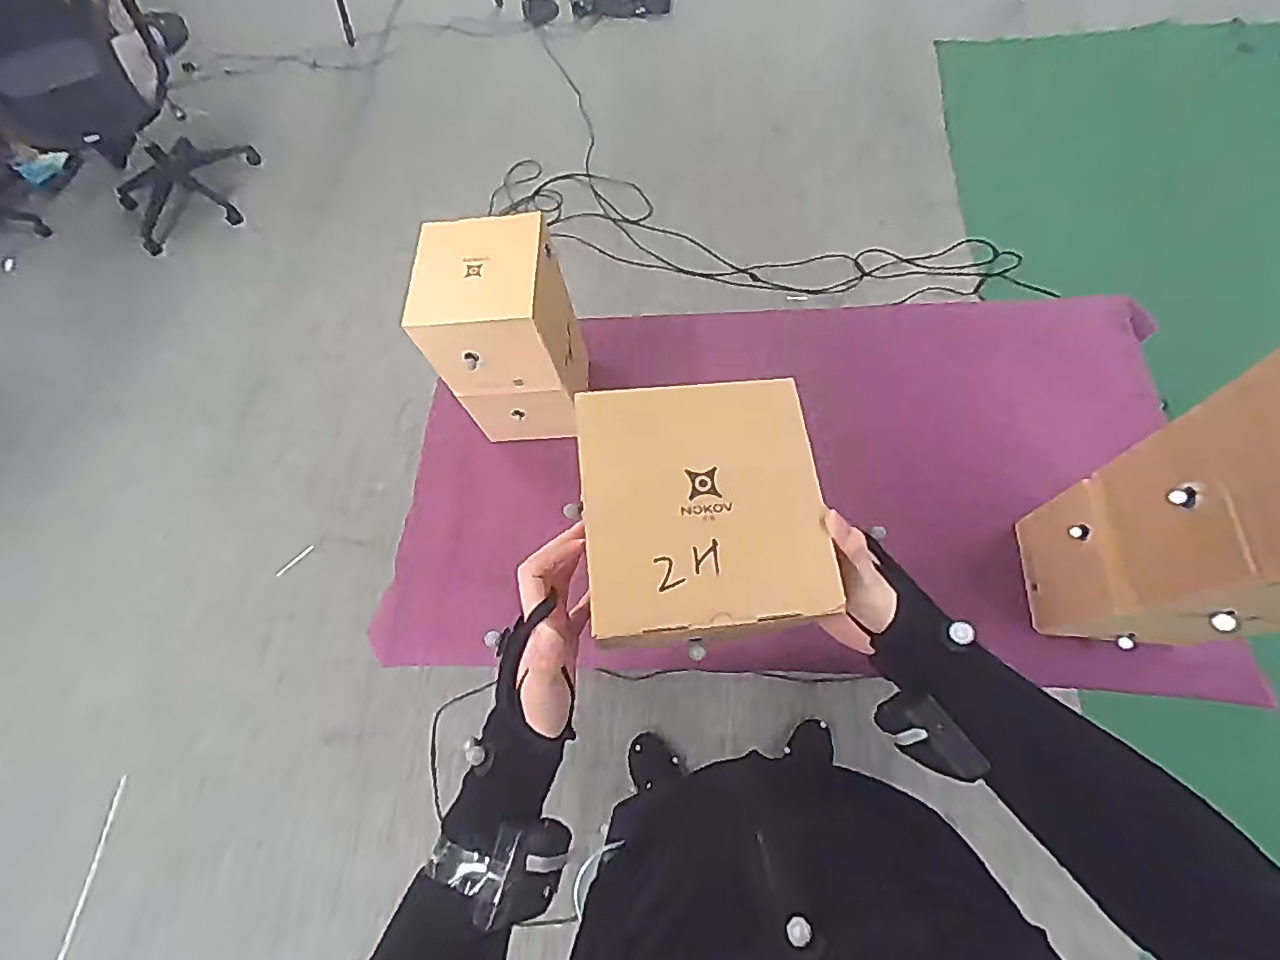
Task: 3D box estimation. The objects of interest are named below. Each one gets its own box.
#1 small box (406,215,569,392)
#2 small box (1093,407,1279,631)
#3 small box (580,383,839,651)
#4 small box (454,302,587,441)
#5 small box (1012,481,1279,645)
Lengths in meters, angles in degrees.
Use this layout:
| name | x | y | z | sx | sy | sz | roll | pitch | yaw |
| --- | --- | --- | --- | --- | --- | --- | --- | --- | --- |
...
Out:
| name | x | y | z | sx | sy | sz | roll | pitch | yaw |
| --- | --- | --- | --- | --- | --- | --- | --- | --- | --- |
| small box | -0.199 | -0.235 | 0.760 | 0.168 | 0.176 | 0.179 | -3 | 66 | 5 |
| small box | 0.611 | 0.045 | 0.550 | 0.168 | 0.176 | 0.179 | 3 | 67 | 9 |
| small box | 0.038 | 0.040 | 0.449 | 0.168 | 0.176 | 0.179 | -4 | 70 | -4 |
| small box | -0.188 | -0.177 | 0.911 | 0.179 | 0.176 | 0.168 | -3 | 67 | 5 |
| small box | 0.626 | 0.114 | 0.698 | 0.179 | 0.176 | 0.168 | 4 | 66 | 8 |
